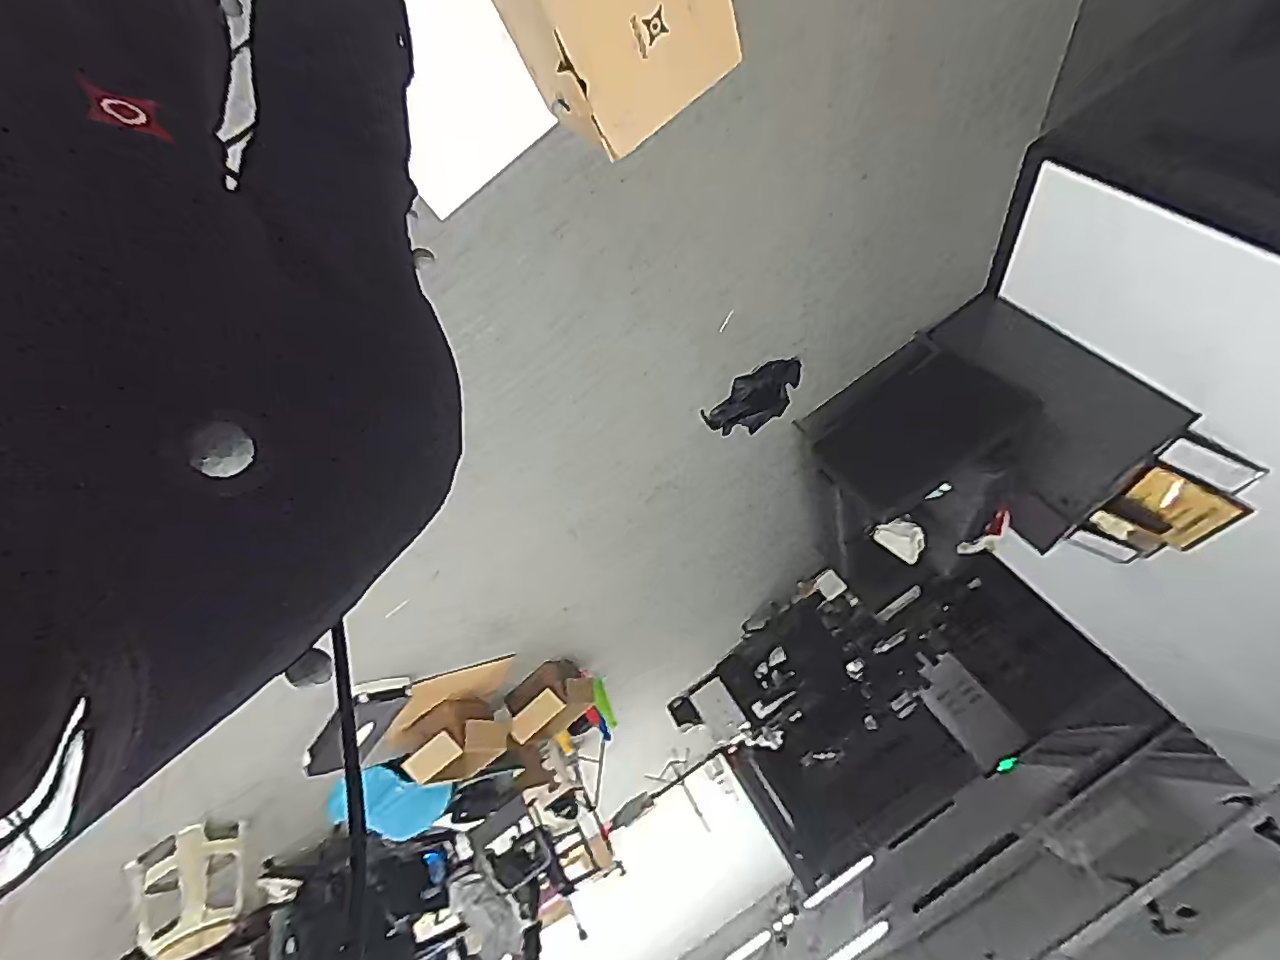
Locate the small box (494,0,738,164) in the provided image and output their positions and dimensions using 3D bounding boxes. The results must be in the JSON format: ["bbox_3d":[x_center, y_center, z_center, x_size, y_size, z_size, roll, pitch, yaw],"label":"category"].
[{"bbox_3d":[-0.032,-0.475,0.550,0.179,0.176,0.168,-39,149,3],"label":"small box"}]
